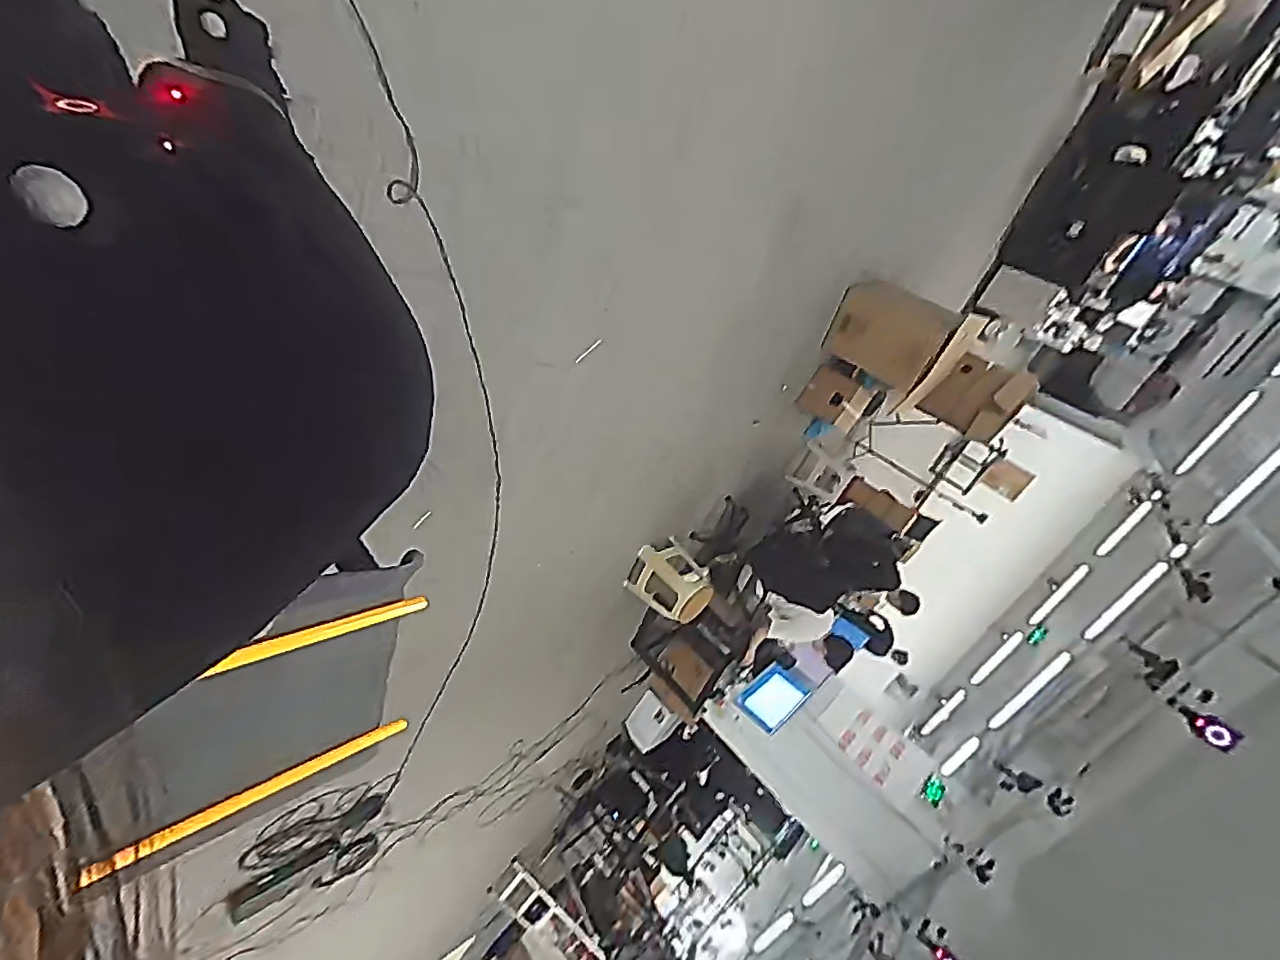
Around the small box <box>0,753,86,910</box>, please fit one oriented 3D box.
[{"bbox_3d":[-0.847,0.494,0.688,0.168,0.176,0.179,-16,136,-47],"label":"small box"}]

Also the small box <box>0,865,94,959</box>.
[{"bbox_3d":[-0.738,0.590,0.610,0.168,0.176,0.179,-14,135,-48],"label":"small box"}]
